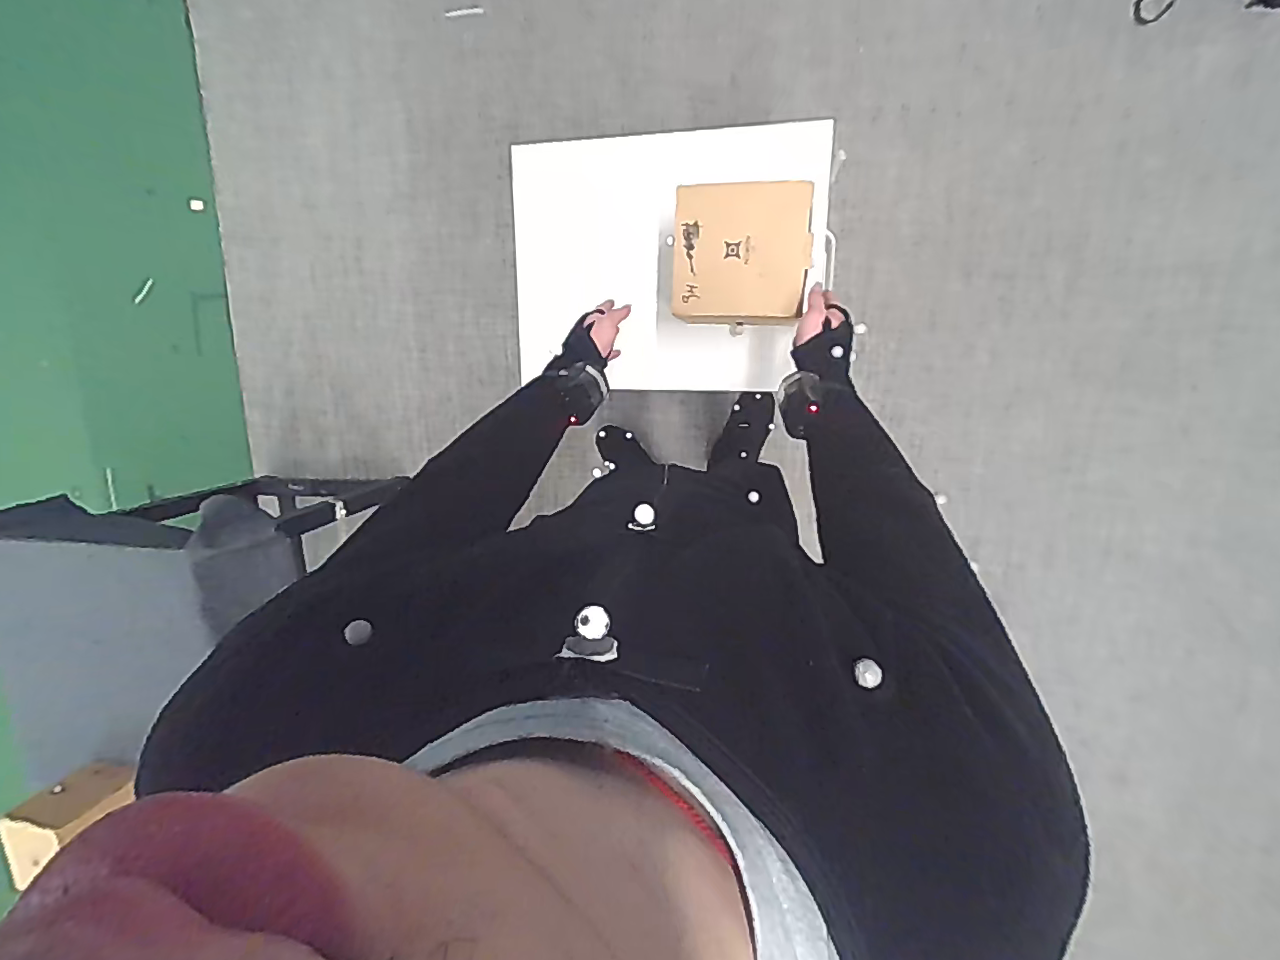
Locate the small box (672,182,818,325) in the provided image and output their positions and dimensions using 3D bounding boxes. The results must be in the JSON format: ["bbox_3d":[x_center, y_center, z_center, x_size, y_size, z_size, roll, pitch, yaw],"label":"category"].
[{"bbox_3d":[0.146,-0.314,0.775,0.179,0.176,0.168,4,104,10],"label":"small box"}]

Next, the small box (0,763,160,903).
[{"bbox_3d":[-1.184,0.737,1.148,0.168,0.176,0.179,1,104,12],"label":"small box"}]
